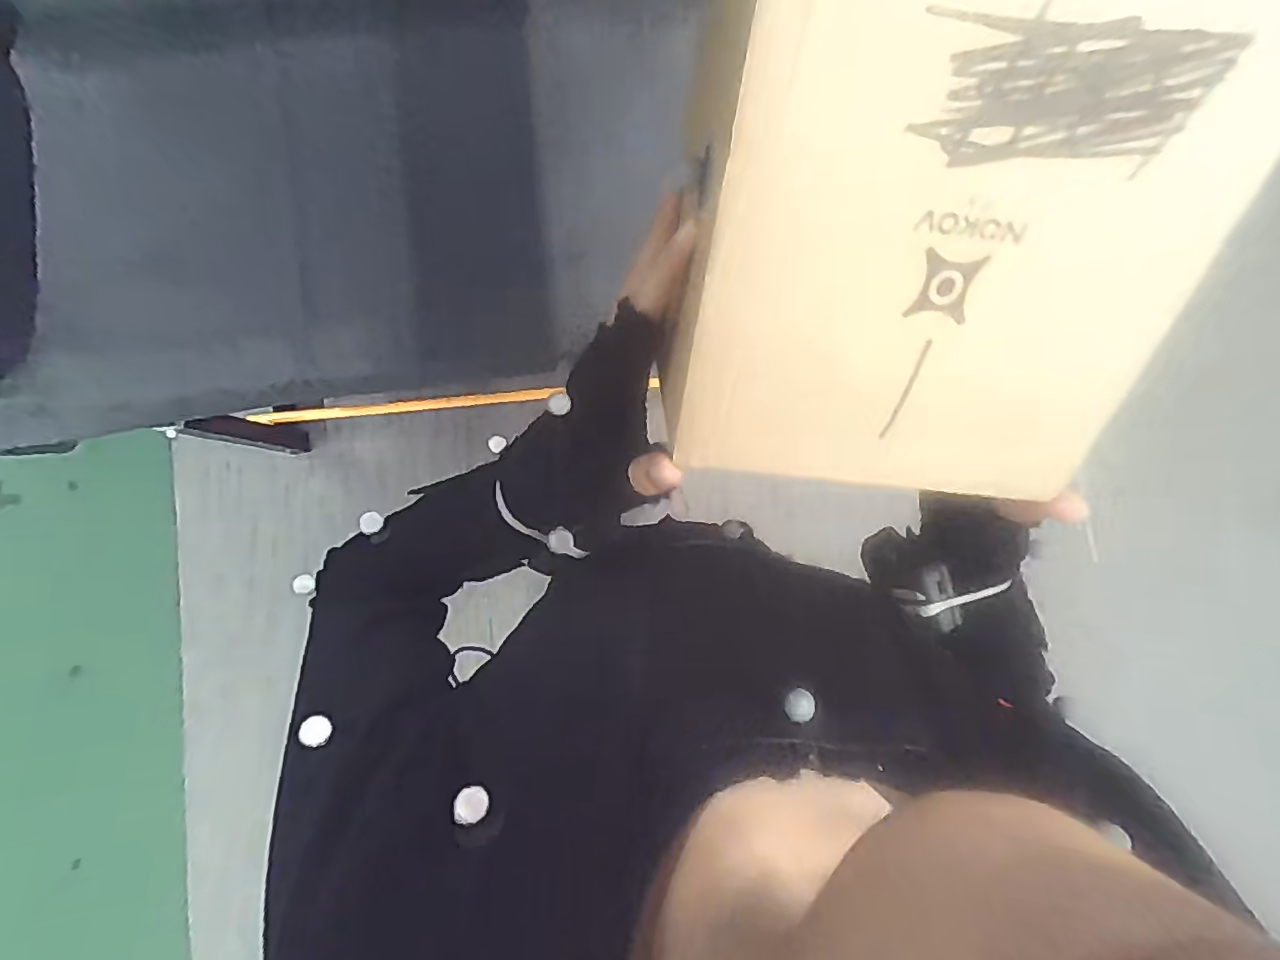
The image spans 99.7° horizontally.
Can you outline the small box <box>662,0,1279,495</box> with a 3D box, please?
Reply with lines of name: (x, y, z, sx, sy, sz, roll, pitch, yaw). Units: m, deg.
small box: (0.104, -0.117, 0.243, 0.168, 0.176, 0.179, 7, 121, -5)
